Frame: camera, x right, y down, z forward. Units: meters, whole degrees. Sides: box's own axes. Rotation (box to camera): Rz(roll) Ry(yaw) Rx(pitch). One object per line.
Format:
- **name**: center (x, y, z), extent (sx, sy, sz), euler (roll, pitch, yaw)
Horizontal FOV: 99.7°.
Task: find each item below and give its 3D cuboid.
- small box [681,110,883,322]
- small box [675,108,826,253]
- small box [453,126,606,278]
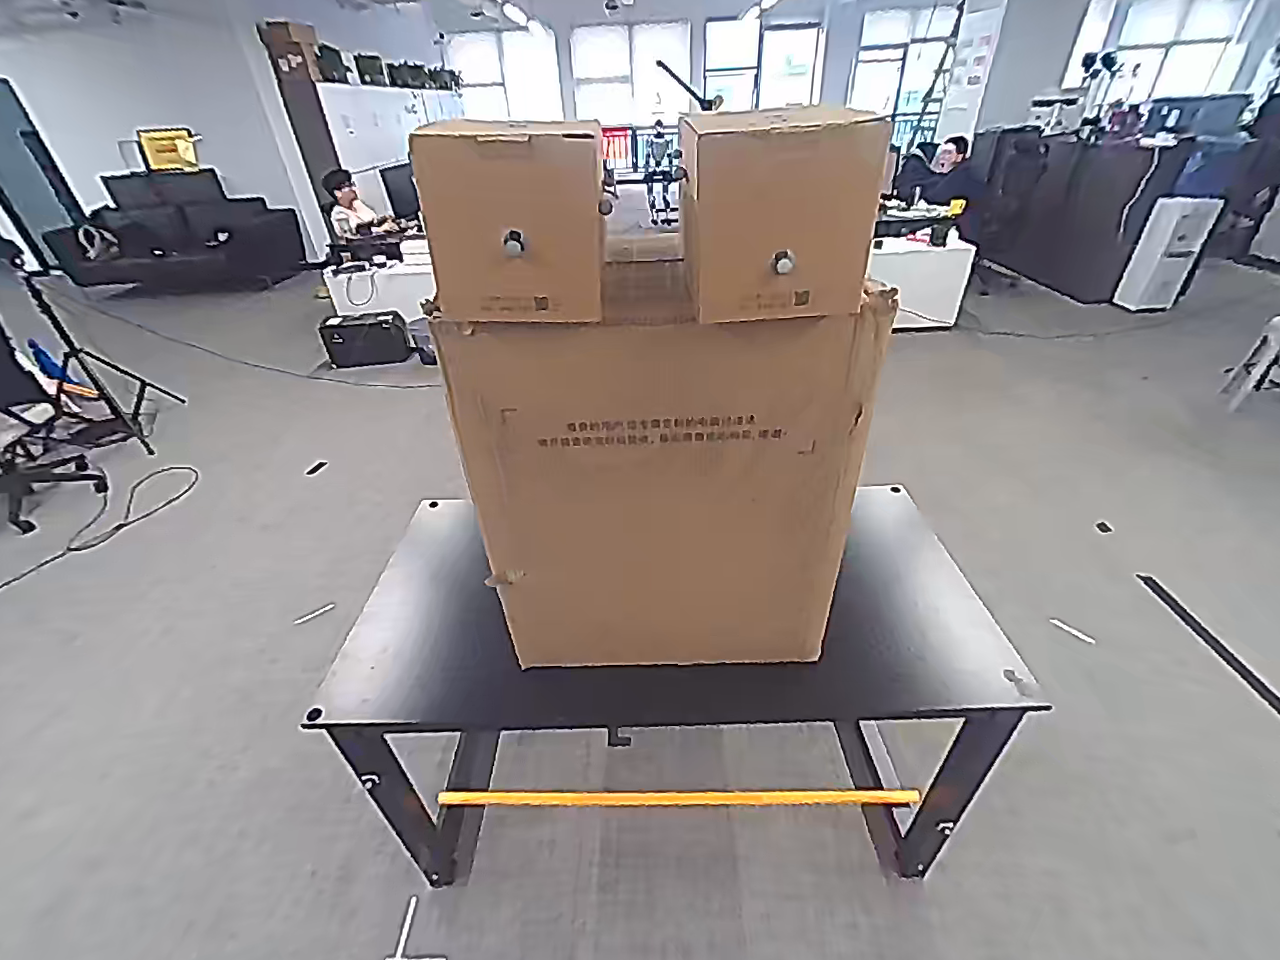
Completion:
- **small box**: center (0.129, -0.279, 0.571), extent (0.168, 0.176, 0.179), euler (-4, 37, 2)
- **small box**: center (0.134, -0.390, 0.725), extent (0.168, 0.176, 0.179), euler (-4, 34, 1)
- **small box**: center (-0.138, -0.383, 0.744), extent (0.168, 0.176, 0.179), euler (-3, 34, 1)
